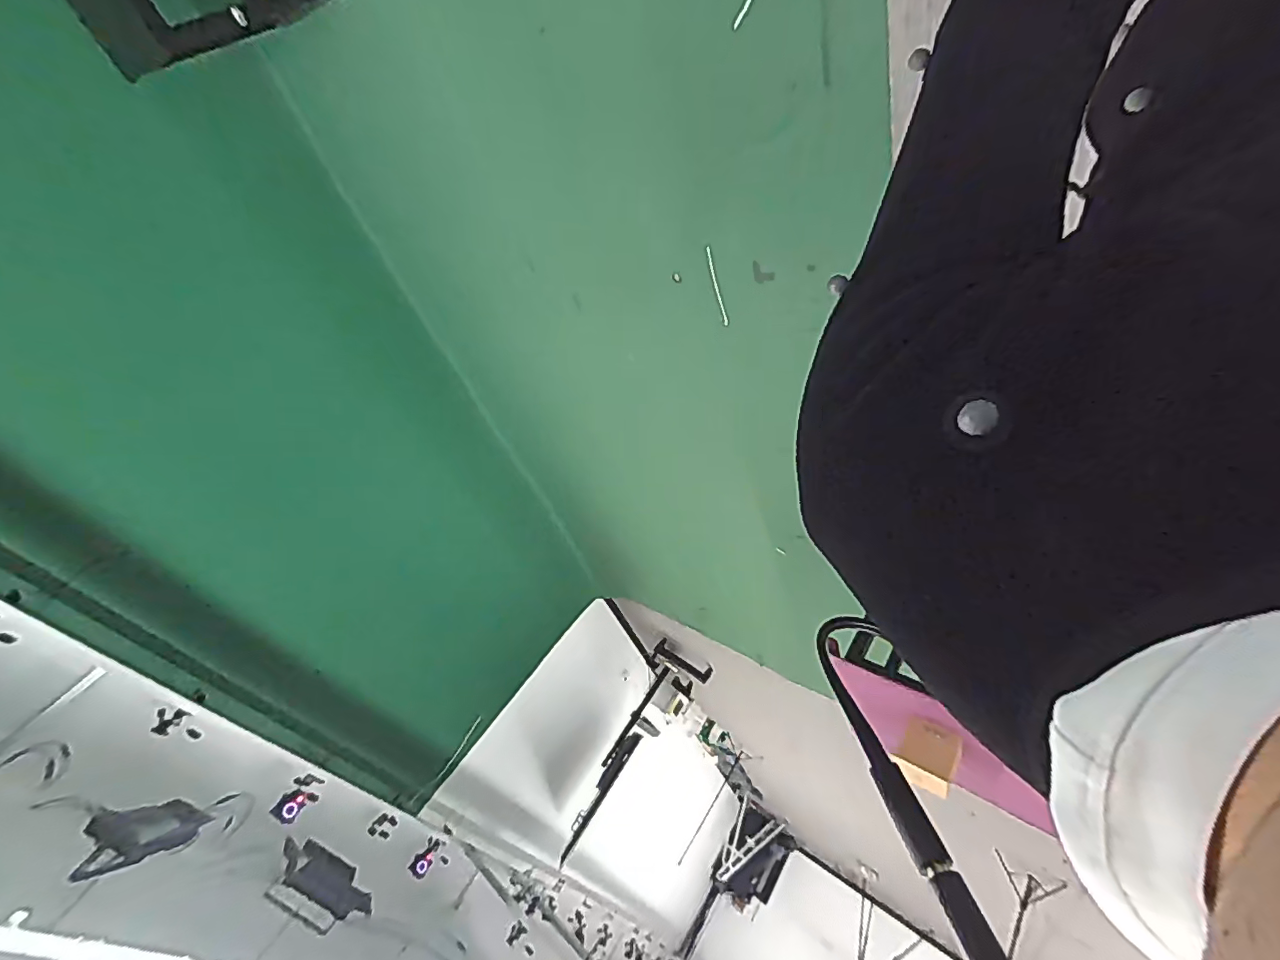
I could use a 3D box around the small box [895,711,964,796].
[{"bbox_3d":[0.975,0.917,1.824,0.168,0.176,0.179,16,145,38],"label":"small box"}]
